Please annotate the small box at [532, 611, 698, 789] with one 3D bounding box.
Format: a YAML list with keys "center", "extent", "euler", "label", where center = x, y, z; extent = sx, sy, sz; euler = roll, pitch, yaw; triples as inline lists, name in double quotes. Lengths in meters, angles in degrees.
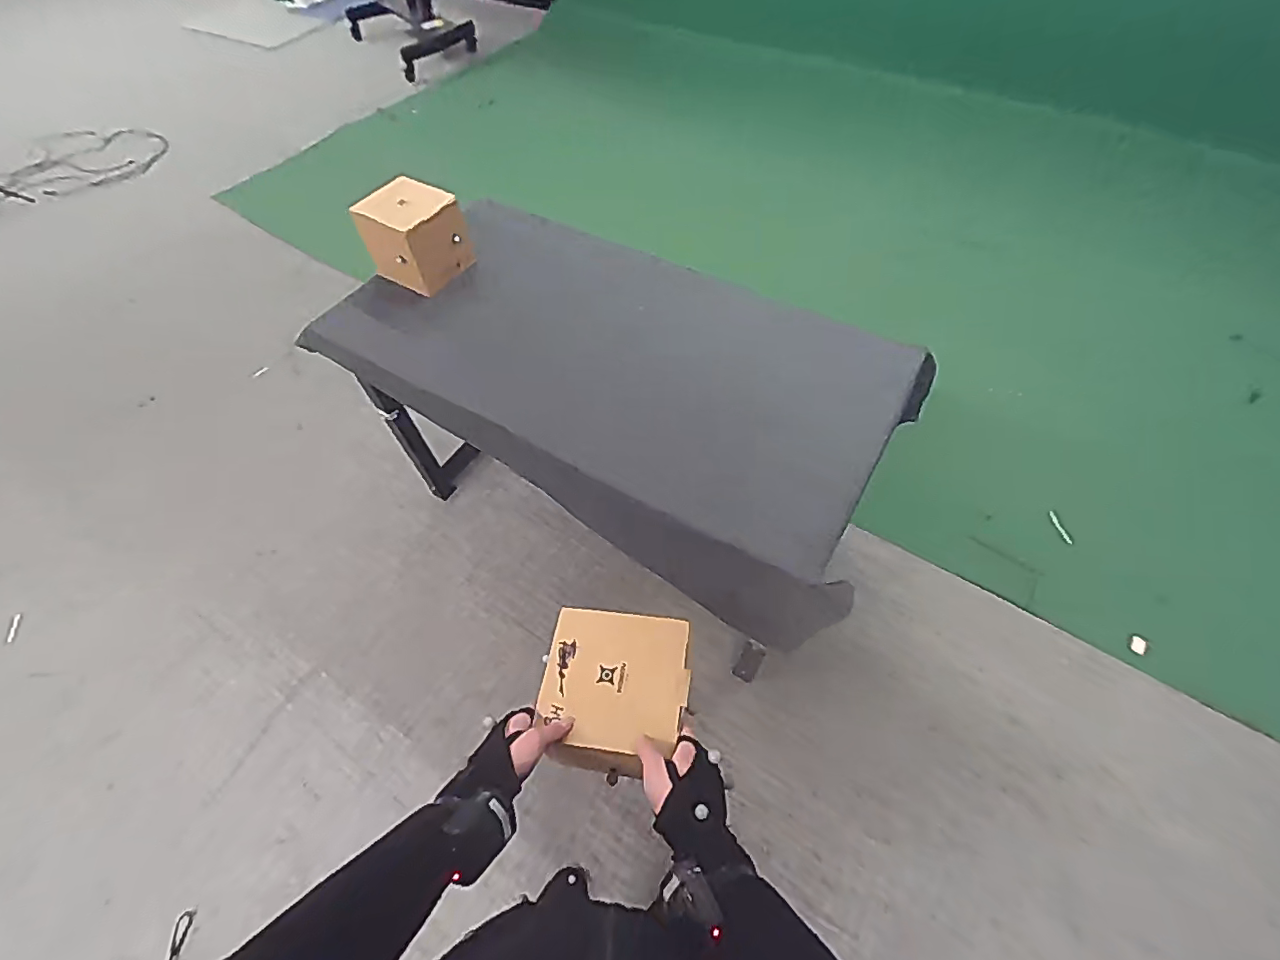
- center: [-0.023, 0.289, 0.701]
  extent: [0.179, 0.176, 0.168]
  euler: [5, 52, 6]
  label: "small box"

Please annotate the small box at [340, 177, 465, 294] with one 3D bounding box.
- center: [-0.530, -0.552, 1.234]
  extent: [0.179, 0.176, 0.168]
  euler: [26, 57, 17]
  label: "small box"
